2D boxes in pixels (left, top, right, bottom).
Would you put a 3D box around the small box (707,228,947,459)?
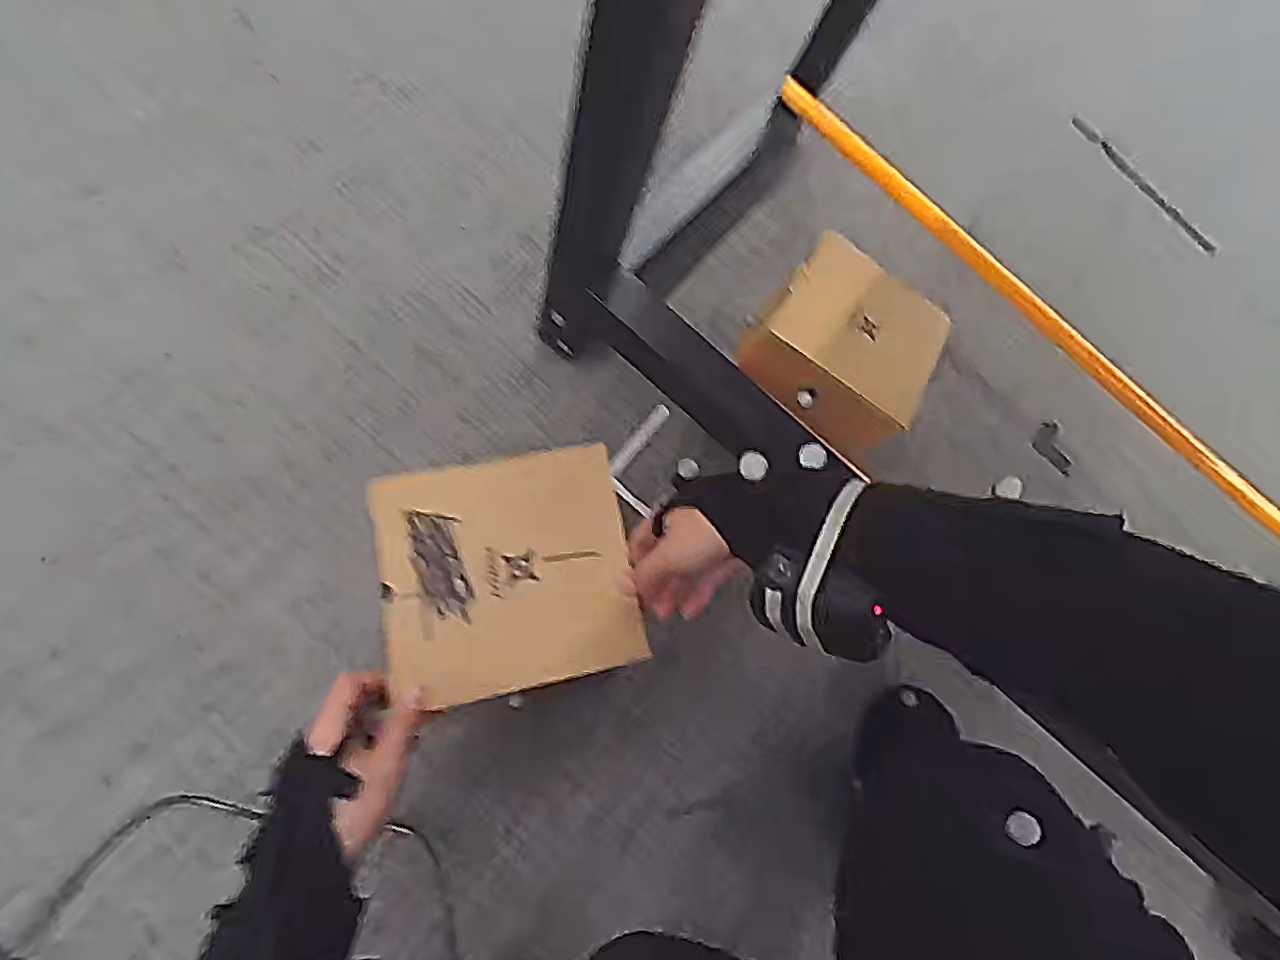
[{"bbox_3d":[0.210,-0.144,0.639,0.179,0.176,0.168,34,67,-4],"label":"small box"}]
